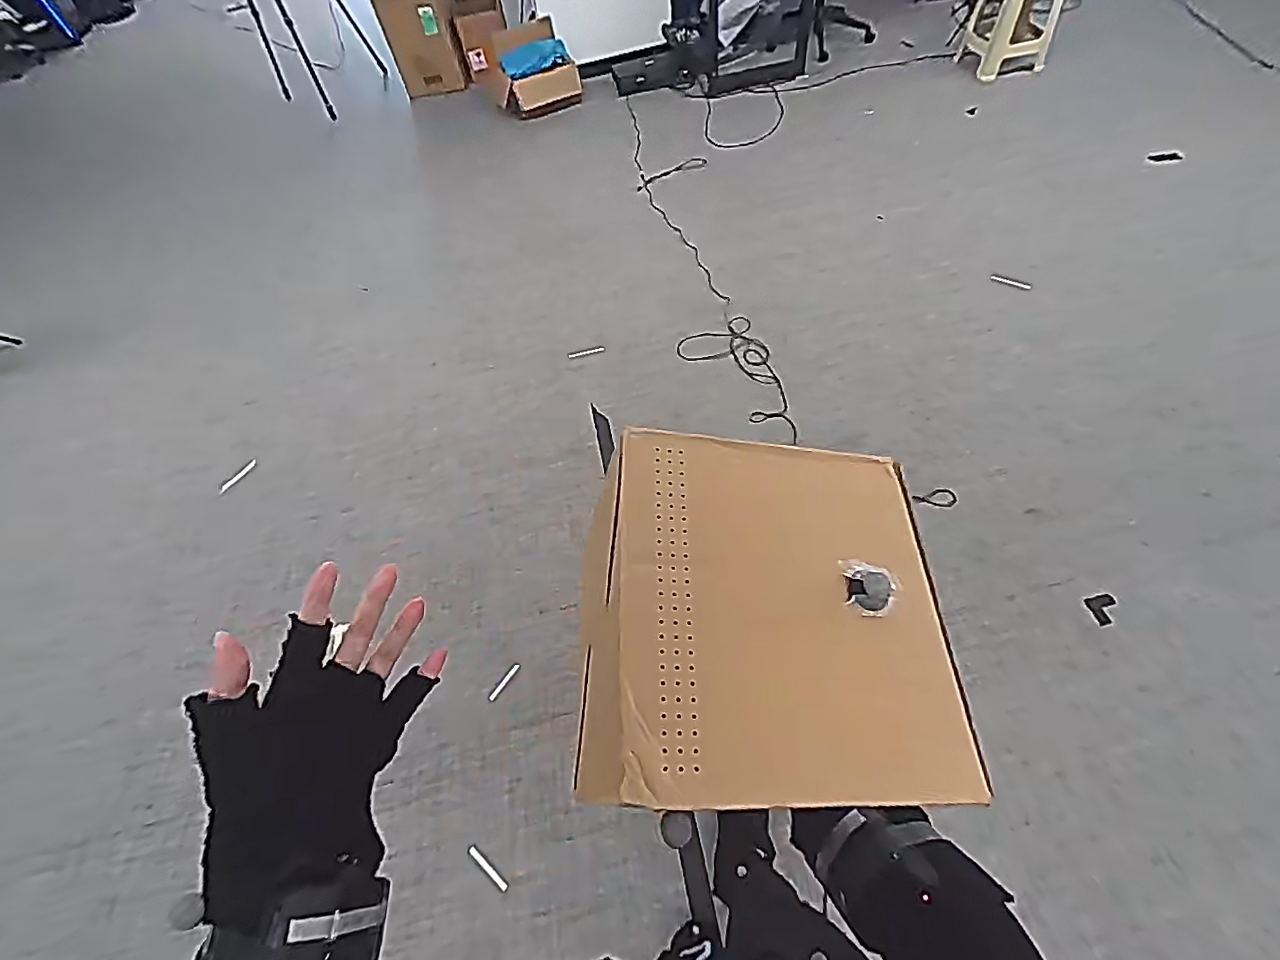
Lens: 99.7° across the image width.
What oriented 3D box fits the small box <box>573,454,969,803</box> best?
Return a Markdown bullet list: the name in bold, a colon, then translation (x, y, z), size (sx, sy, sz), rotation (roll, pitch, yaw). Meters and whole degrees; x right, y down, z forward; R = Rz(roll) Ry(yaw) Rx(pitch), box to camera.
- **small box**: translation (0.053, 0.099, 0.339), size (0.176, 0.168, 0.179), rotation (6, 60, -10)
